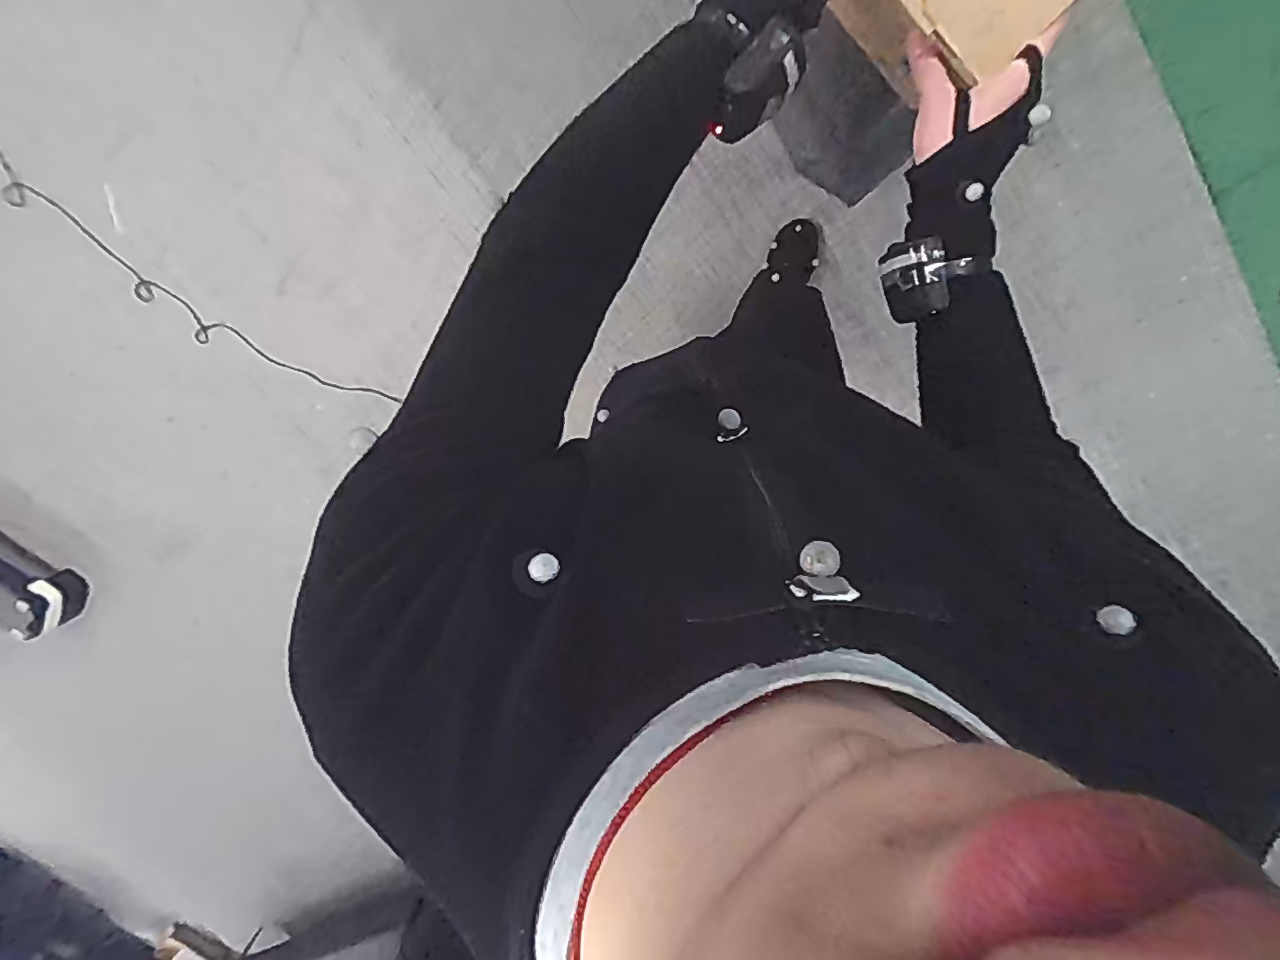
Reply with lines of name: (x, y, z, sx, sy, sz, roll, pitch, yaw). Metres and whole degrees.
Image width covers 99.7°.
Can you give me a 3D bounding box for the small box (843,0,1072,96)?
small box: (0.266, -0.439, 0.418, 0.168, 0.176, 0.179, 39, 117, -16)
